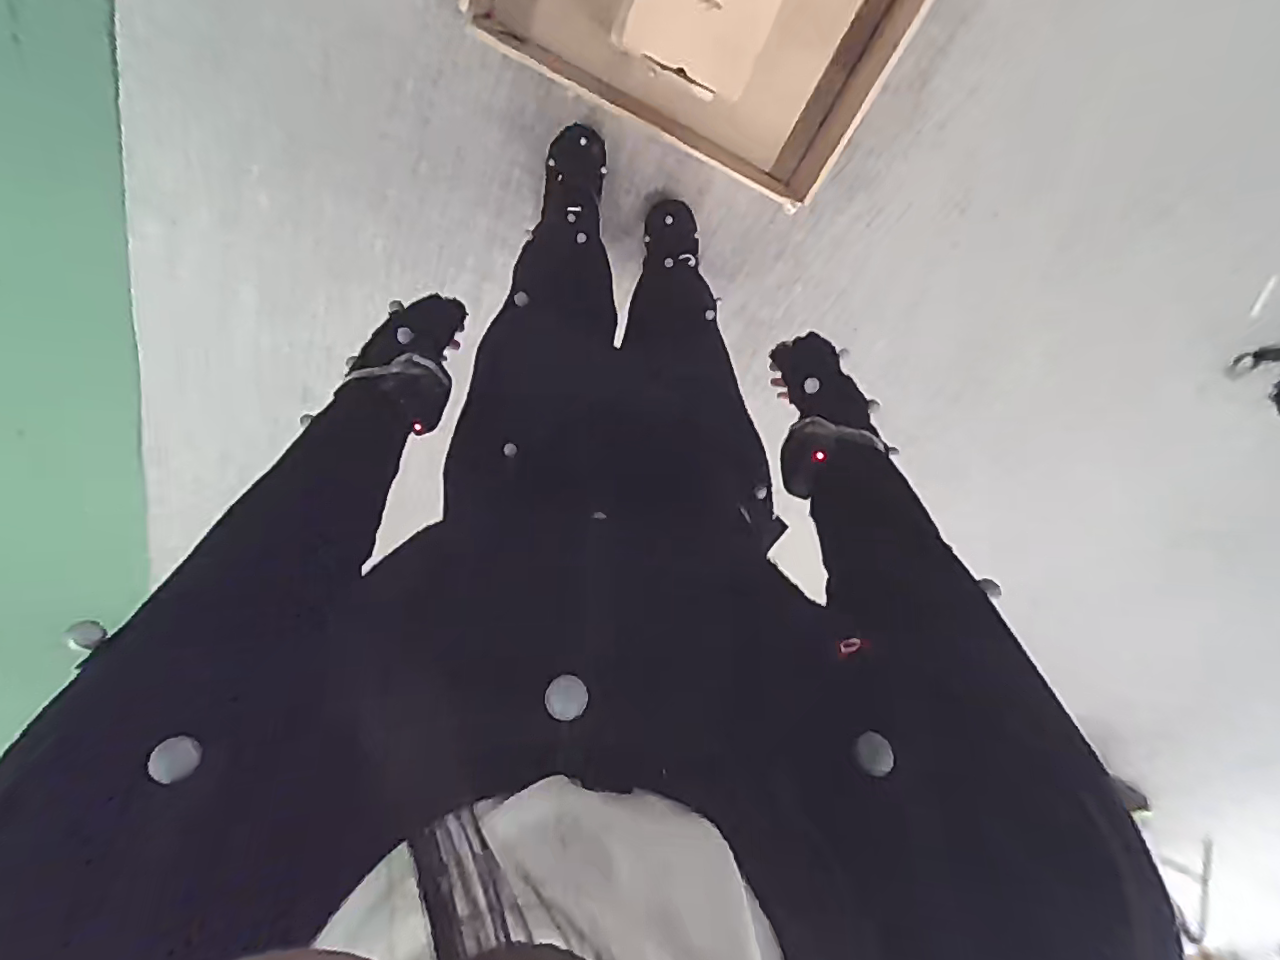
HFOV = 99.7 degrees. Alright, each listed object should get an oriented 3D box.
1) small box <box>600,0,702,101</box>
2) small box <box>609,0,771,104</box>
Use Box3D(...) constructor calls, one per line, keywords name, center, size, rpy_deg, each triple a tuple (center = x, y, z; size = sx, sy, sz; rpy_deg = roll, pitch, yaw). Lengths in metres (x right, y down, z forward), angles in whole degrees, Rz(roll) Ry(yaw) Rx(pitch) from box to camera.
Box3D(name="small box", center=(0.053, -0.732, 0.839), size=(0.179, 0.176, 0.168), rpy_deg=(22, 125, -18))
Box3D(name="small box", center=(0.070, -0.627, 0.695), size=(0.168, 0.176, 0.179), rpy_deg=(18, 128, -17))
